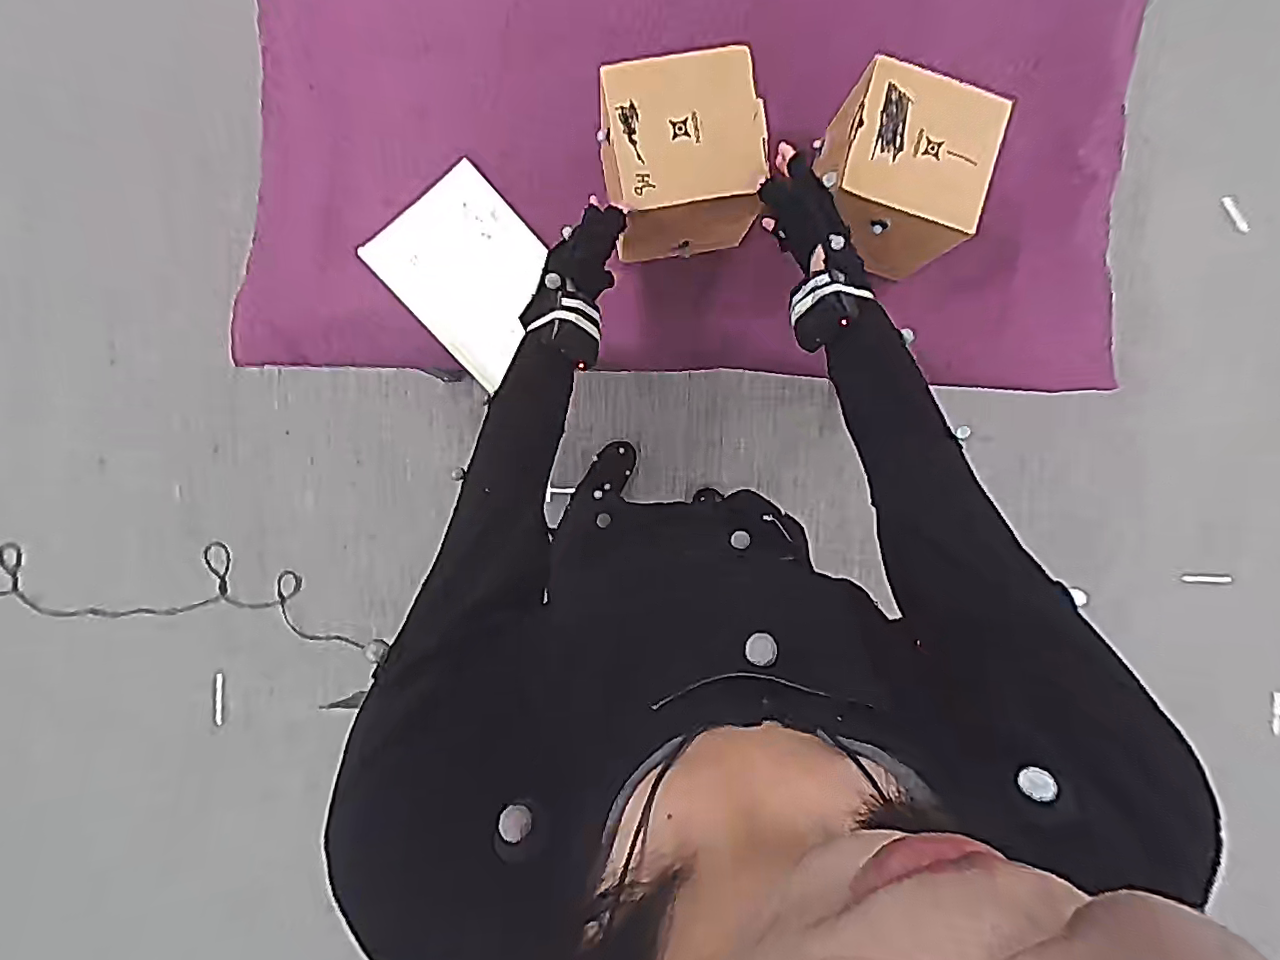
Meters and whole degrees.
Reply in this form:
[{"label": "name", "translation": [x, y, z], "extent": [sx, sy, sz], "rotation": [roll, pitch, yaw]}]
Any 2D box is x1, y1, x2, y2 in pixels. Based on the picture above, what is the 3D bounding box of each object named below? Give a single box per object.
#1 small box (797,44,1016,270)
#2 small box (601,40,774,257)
[{"label": "small box", "translation": [0.328, -0.399, 0.702], "extent": [0.179, 0.176, 0.168], "rotation": [16, 90, -5]}, {"label": "small box", "translation": [0.050, -0.405, 0.687], "extent": [0.179, 0.176, 0.168], "rotation": [-11, 92, -4]}]
